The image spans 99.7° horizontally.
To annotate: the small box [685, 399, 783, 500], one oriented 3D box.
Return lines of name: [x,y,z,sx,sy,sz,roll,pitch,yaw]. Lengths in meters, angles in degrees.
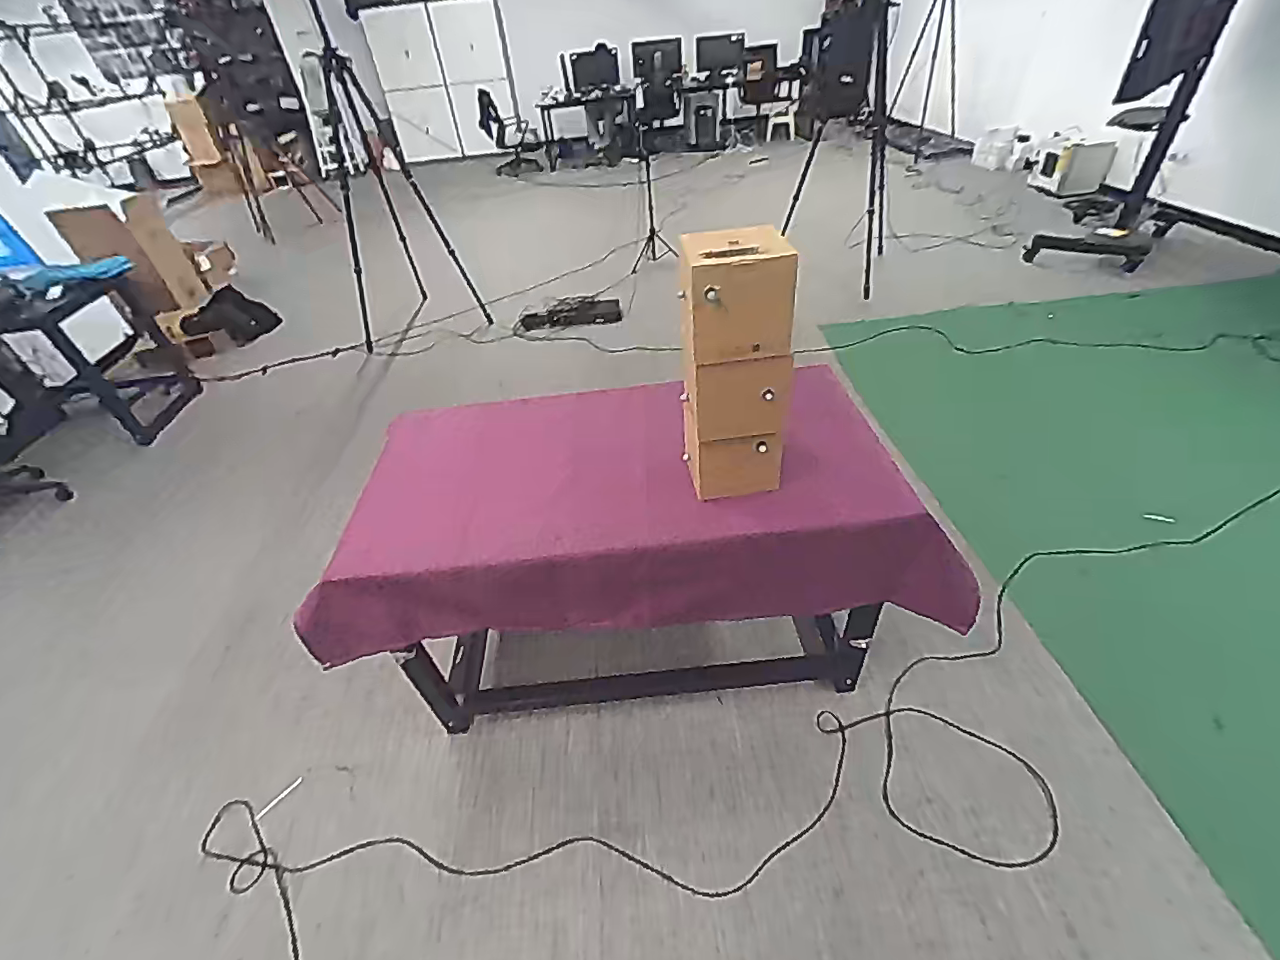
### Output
small box: [0.196,-0.077,1.172,0.179,0.176,0.168,-8,39,-2]

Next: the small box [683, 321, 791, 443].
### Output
small box: [0.181,-0.191,1.055,0.179,0.176,0.168,-7,39,0]
